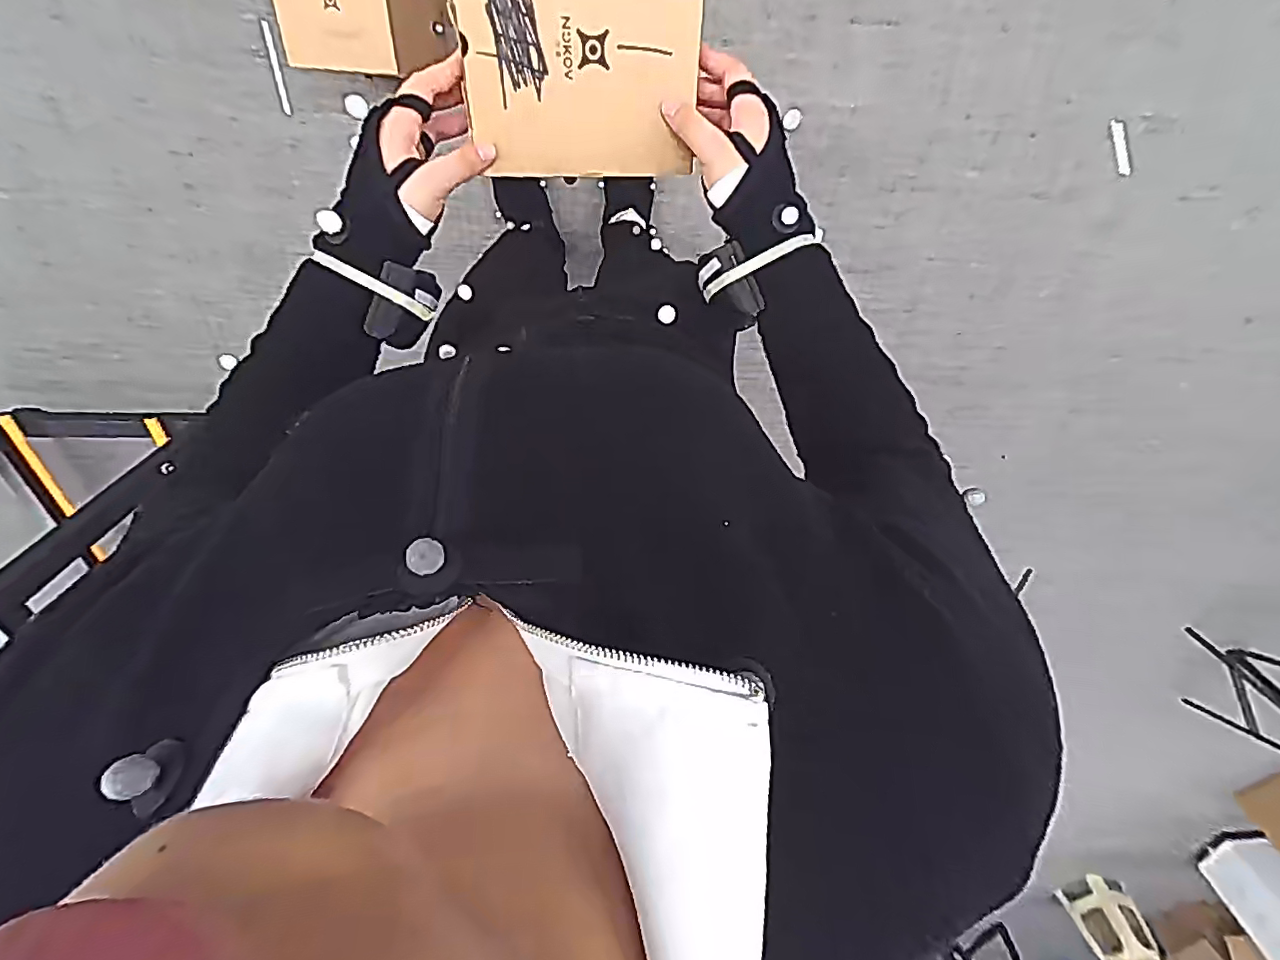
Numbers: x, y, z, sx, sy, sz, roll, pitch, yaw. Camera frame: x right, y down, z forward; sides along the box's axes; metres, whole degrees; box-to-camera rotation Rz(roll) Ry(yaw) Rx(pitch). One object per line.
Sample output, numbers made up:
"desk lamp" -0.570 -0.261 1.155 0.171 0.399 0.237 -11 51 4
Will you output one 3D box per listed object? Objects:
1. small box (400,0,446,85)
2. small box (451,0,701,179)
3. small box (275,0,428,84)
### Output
"small box" -0.466 -0.833 0.991 0.179 0.176 0.168 3 125 -4
"small box" -0.054 -0.363 0.456 0.179 0.176 0.168 -4 130 -7
"small box" -0.452 -0.744 0.856 0.168 0.176 0.179 2 126 -3
